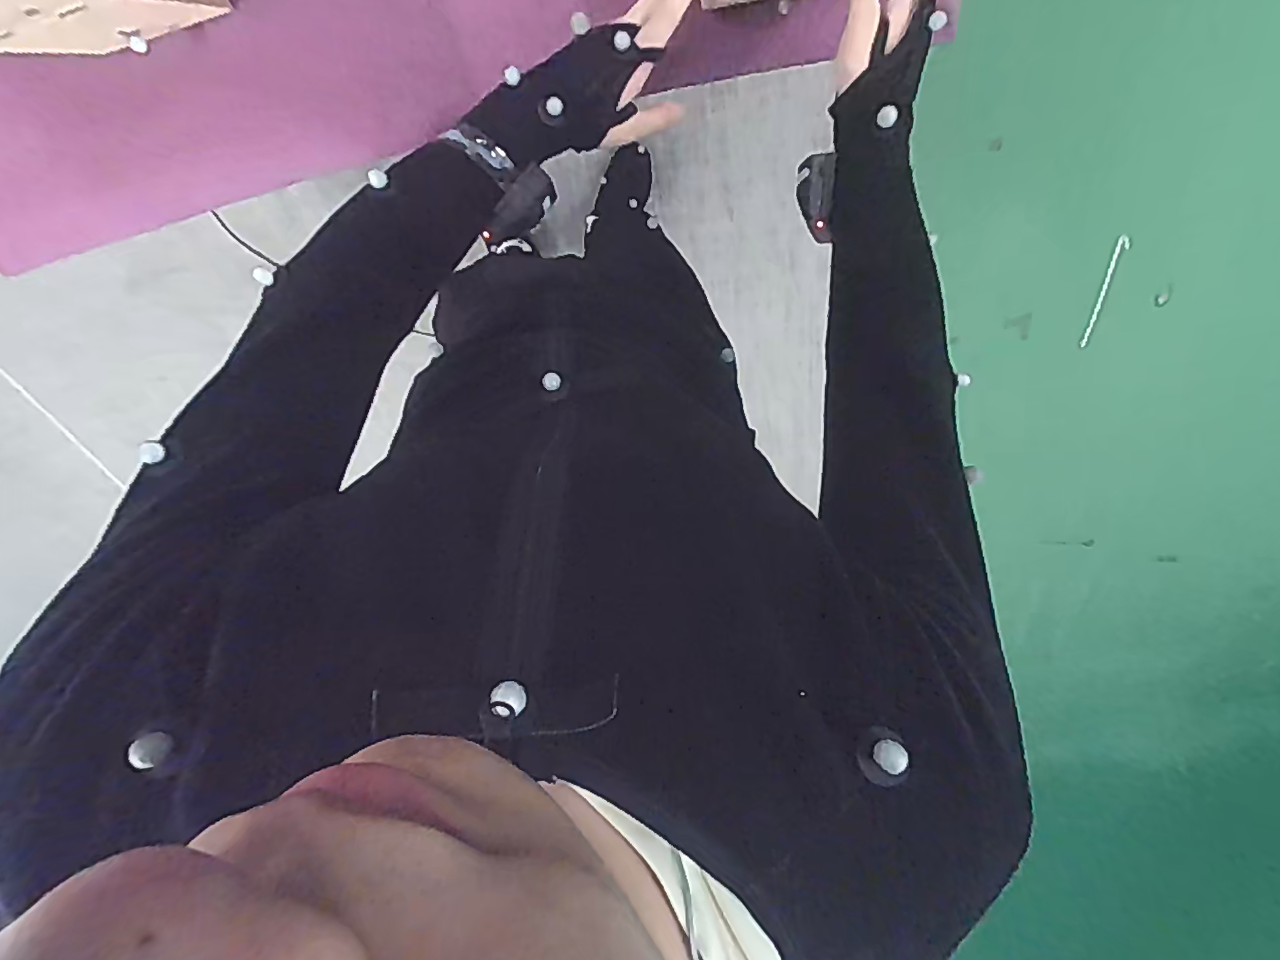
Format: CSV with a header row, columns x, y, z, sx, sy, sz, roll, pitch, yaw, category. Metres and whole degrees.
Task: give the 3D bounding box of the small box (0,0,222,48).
x,y,z,sx,sy,sz,roll,pitch,yaw,category
-0.526,-0.497,0.461,0.168,0.176,0.179,-10,128,7,small box
